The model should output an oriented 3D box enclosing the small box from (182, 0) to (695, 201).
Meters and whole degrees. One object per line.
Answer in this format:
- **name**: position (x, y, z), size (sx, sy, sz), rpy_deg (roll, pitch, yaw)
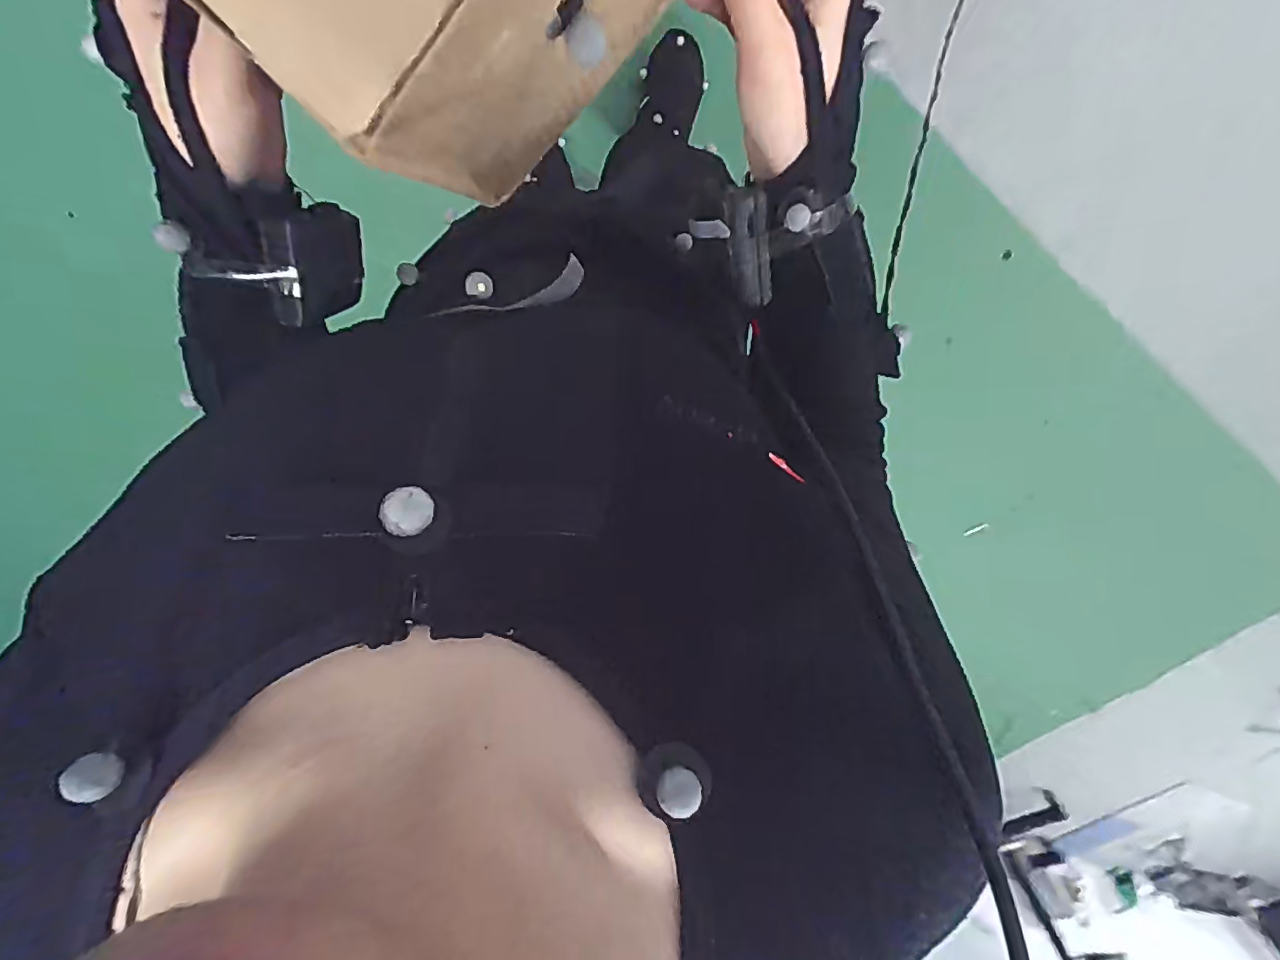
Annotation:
- **small box**: position (-0.064, -0.218, 0.169), size (0.179, 0.176, 0.168), rpy_deg (-41, 107, 15)
